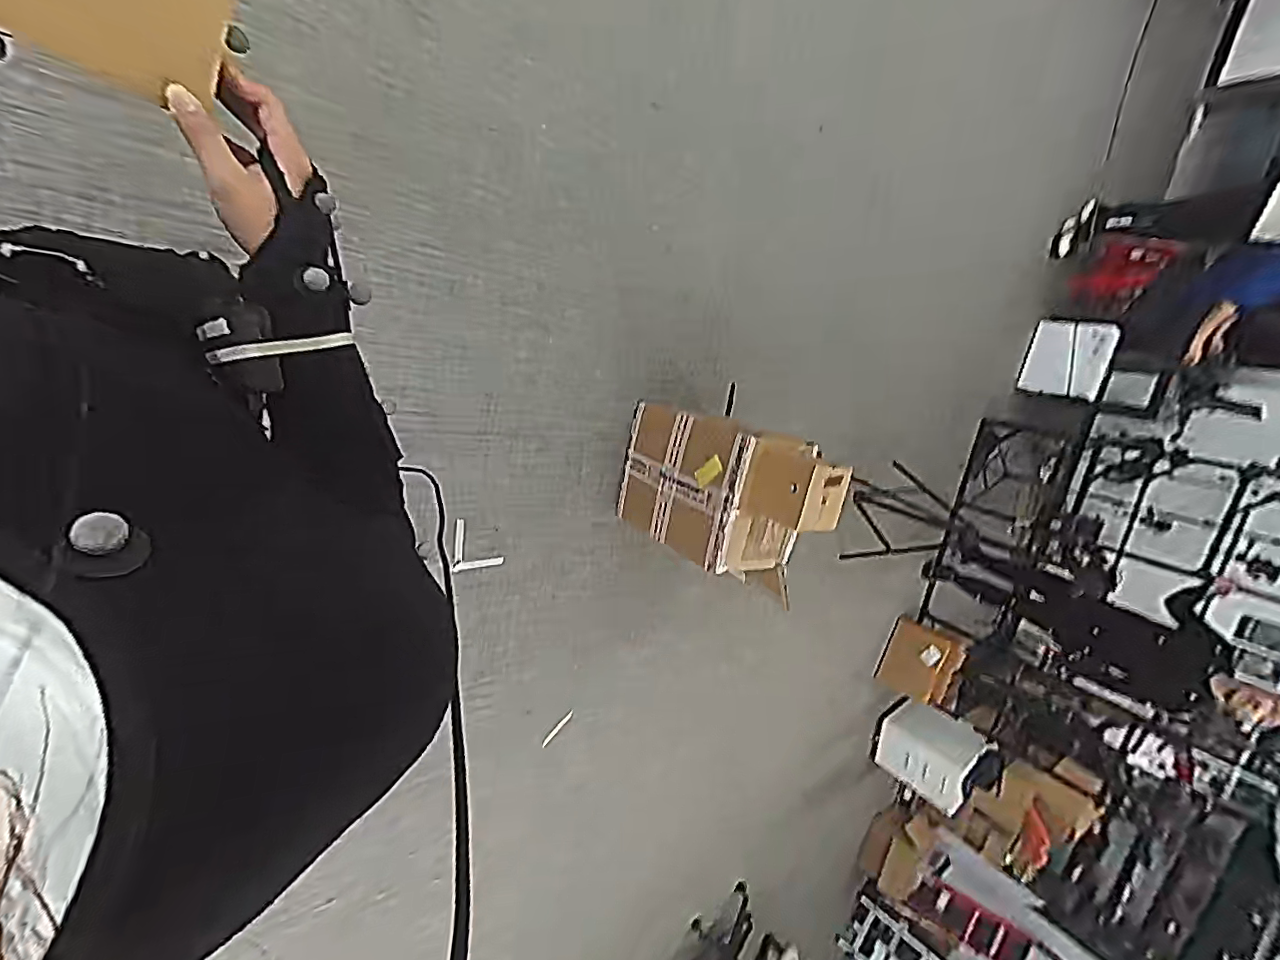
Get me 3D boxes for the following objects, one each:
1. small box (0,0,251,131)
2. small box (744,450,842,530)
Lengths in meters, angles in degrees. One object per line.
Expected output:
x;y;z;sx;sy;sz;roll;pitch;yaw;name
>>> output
-0.338;-0.343;0.315;0.179;0.176;0.168;12;111;-45;small box
0.404;0.024;1.448;0.168;0.176;0.179;4;104;-38;small box
